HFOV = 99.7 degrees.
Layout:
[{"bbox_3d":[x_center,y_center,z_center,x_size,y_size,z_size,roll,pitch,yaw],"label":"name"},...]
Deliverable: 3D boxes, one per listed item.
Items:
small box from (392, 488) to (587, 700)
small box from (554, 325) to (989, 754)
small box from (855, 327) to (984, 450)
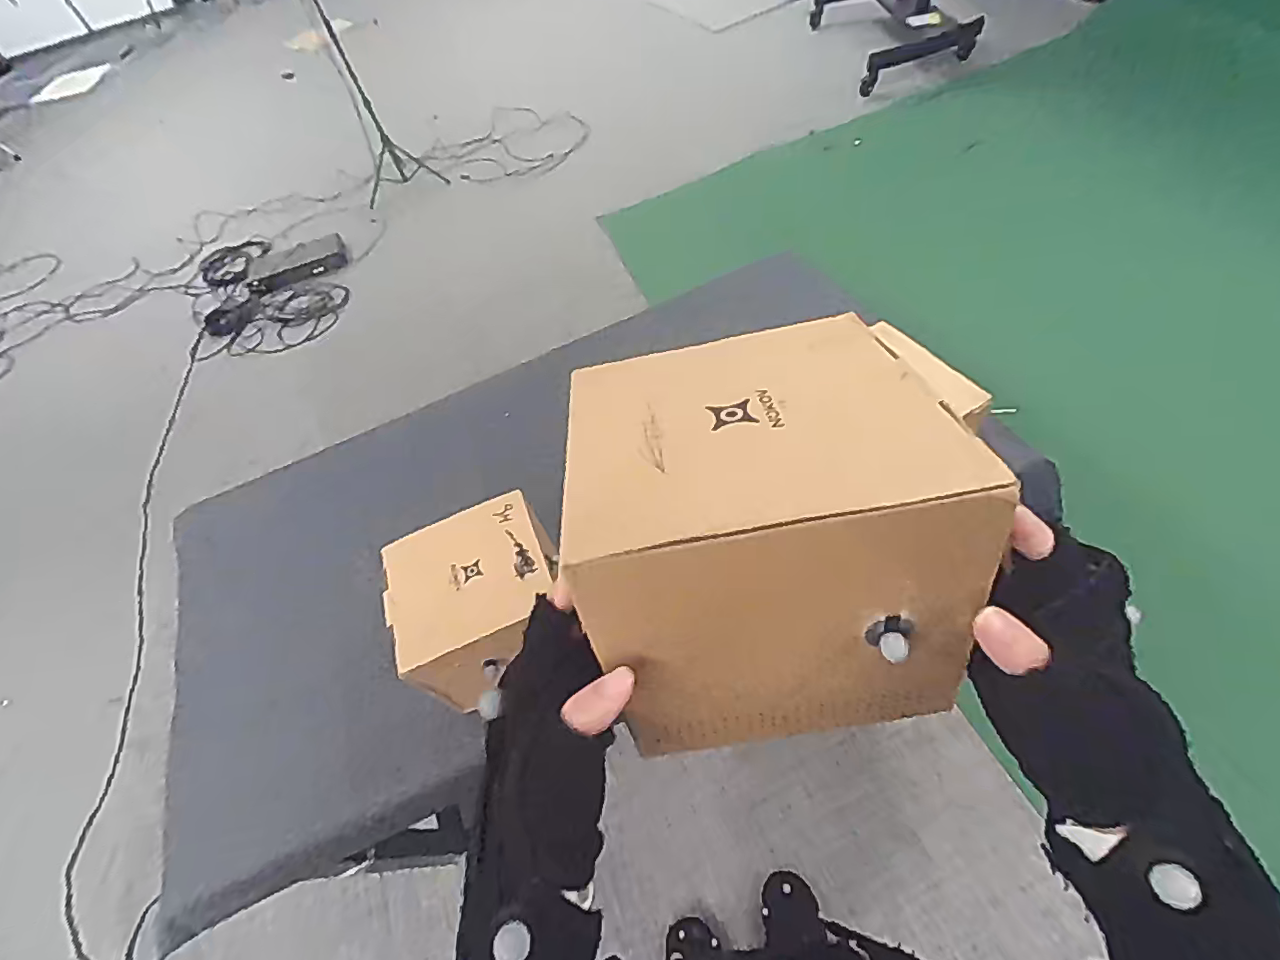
[{"bbox_3d":[-0.176,0.147,0.670,0.179,0.176,0.168,-23,54,-6],"label":"small box"},{"bbox_3d":[0.061,0.034,0.322,0.179,0.176,0.168,-13,37,4],"label":"small box"},{"bbox_3d":[0.303,-0.062,0.723,0.168,0.176,0.179,-28,55,-9],"label":"small box"}]
